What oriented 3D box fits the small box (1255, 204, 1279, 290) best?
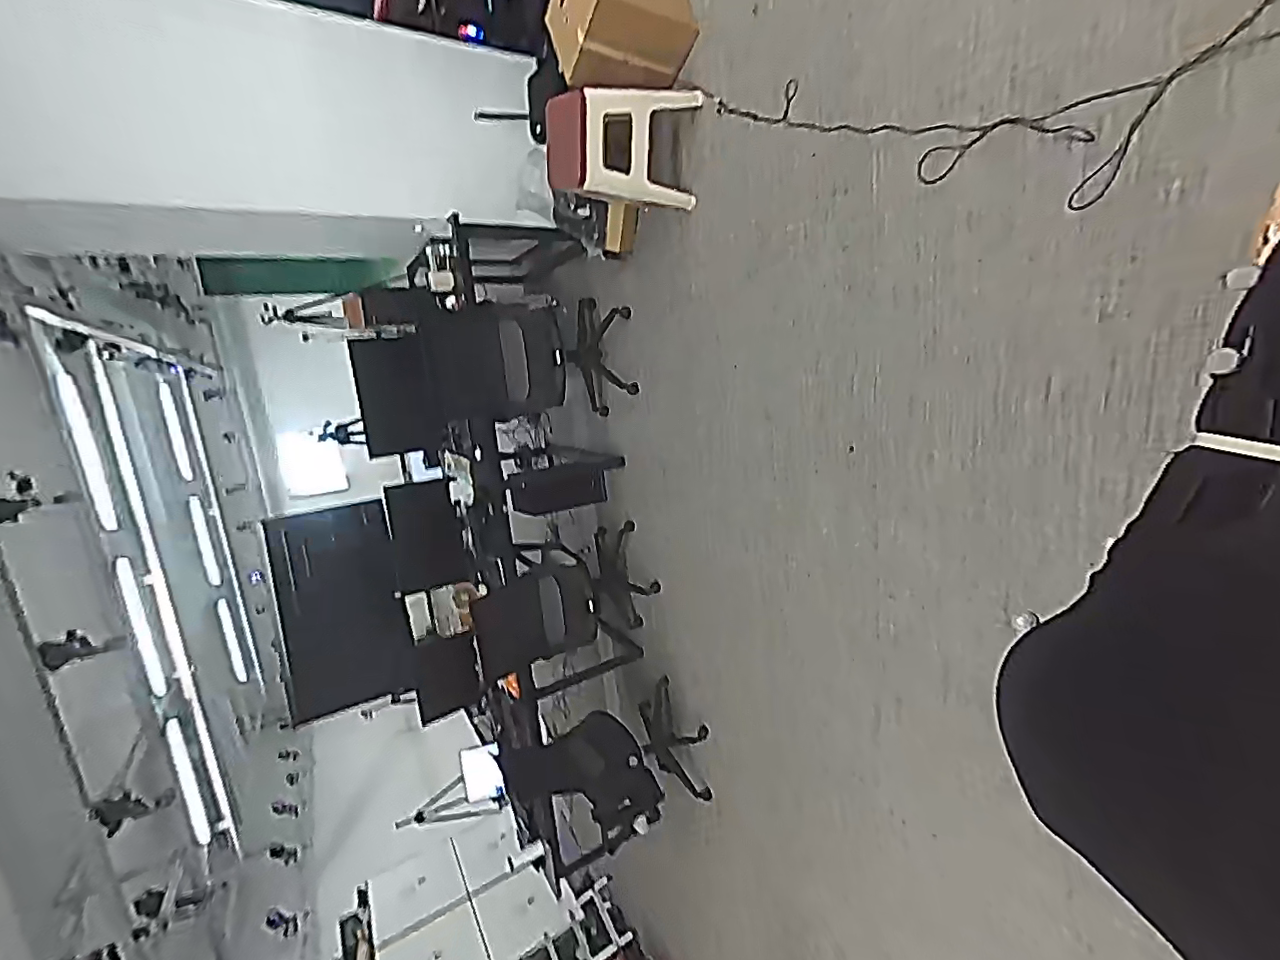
[{"bbox_3d":[1.038,-0.355,0.761,0.179,0.176,0.168,23,122,53],"label":"small box"}]
